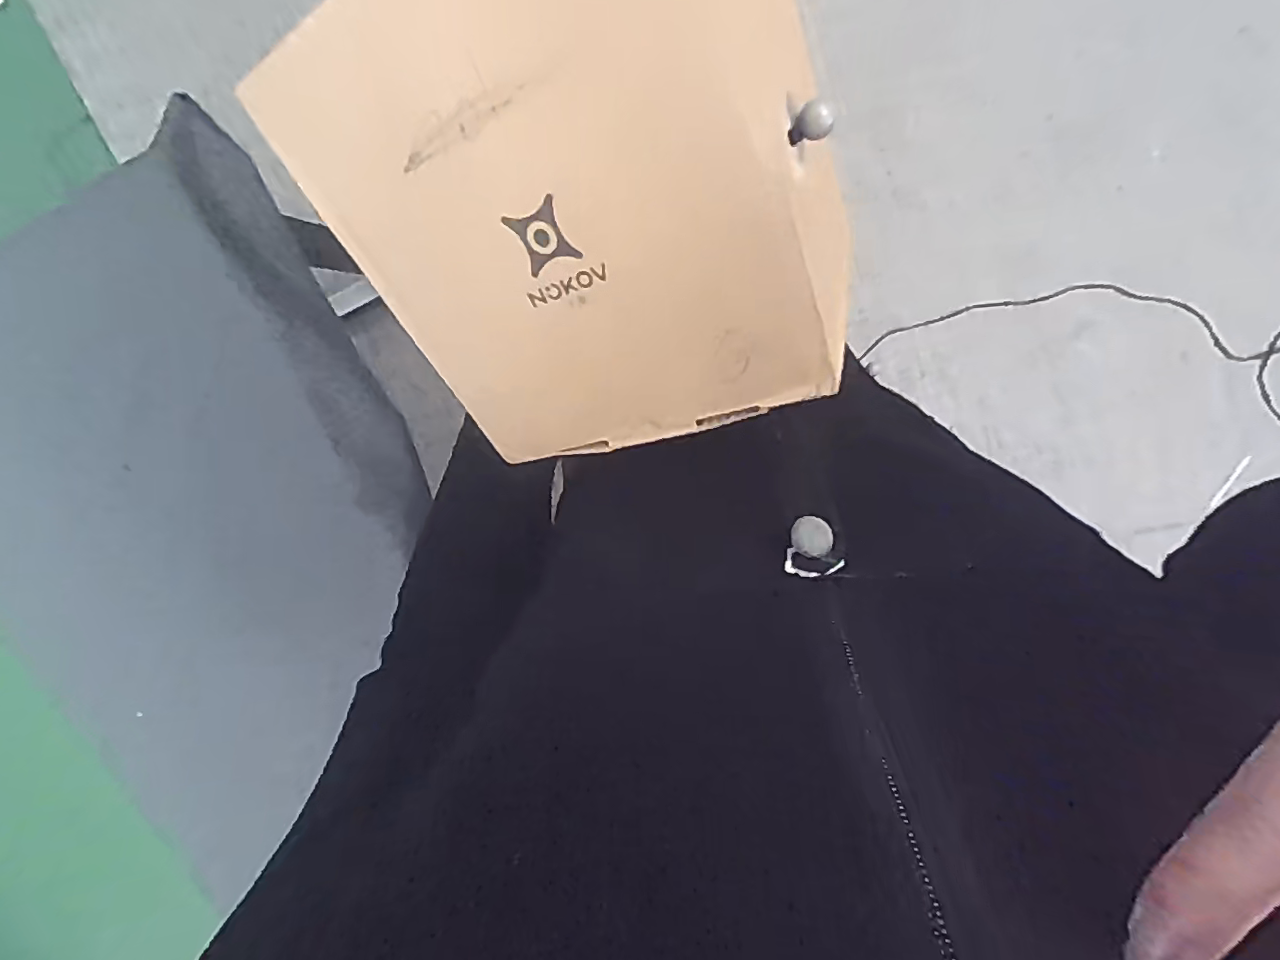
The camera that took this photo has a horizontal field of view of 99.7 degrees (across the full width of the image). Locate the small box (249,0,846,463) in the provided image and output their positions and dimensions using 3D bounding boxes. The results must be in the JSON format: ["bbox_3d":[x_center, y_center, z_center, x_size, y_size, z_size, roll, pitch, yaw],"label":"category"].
[{"bbox_3d":[-0.007,-0.136,0.248,0.168,0.176,0.179,-11,126,28],"label":"small box"}]
